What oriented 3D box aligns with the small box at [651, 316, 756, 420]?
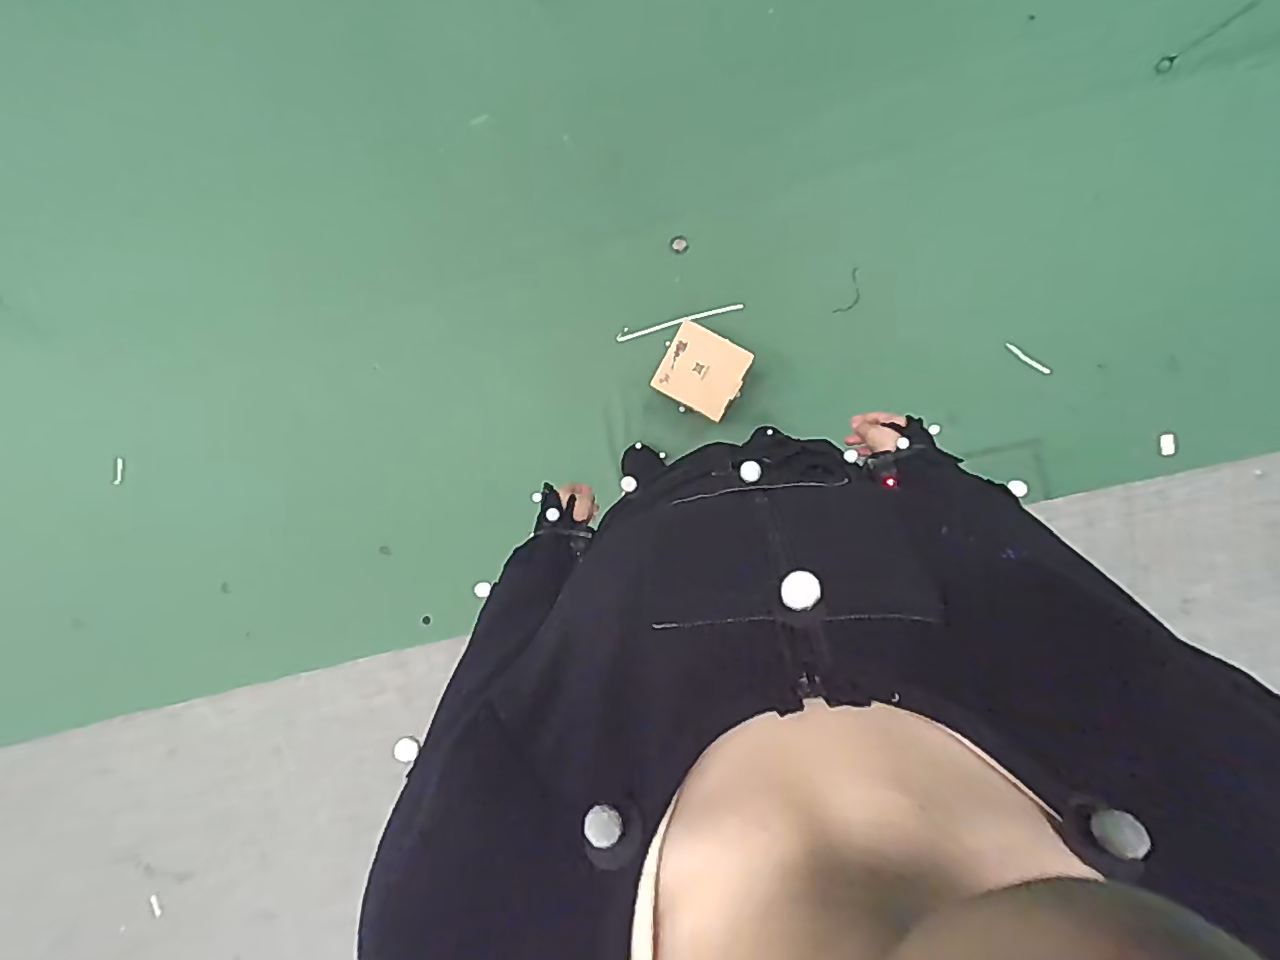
[{"bbox_3d":[0.144,-0.253,1.250,0.179,0.176,0.168,29,98,1],"label":"small box"}]
